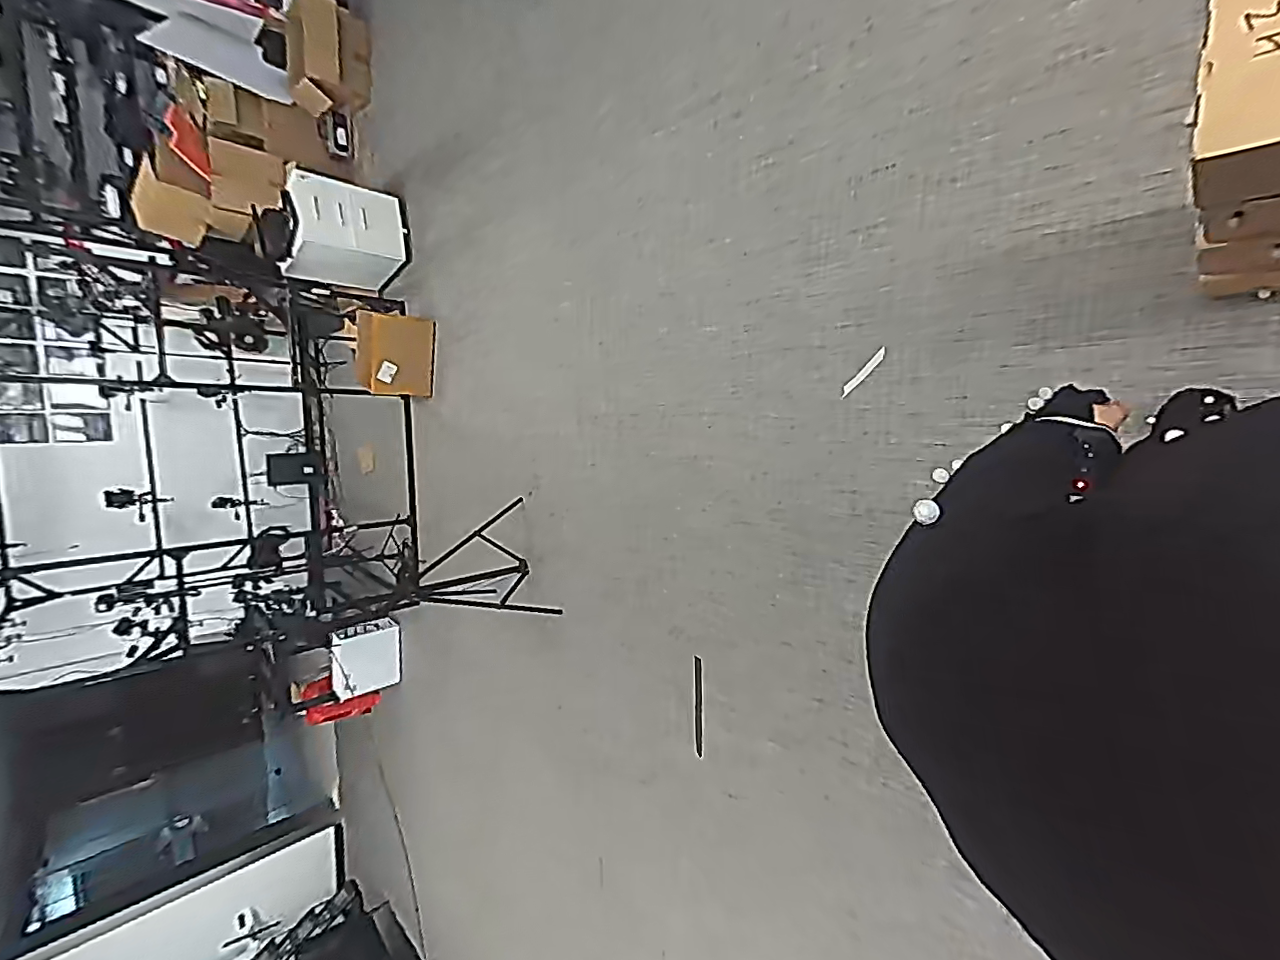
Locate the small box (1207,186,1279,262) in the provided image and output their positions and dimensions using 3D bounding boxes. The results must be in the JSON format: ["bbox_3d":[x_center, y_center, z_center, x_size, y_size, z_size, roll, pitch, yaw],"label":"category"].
[{"bbox_3d":[0.893,-0.402,0.718,0.179,0.176,0.168,8,101,48],"label":"small box"}]

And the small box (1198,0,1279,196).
[{"bbox_3d":[0.650,-0.387,0.495,0.179,0.176,0.168,9,100,48],"label":"small box"}]

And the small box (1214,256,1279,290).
[{"bbox_3d":[1.011,-0.405,0.829,0.168,0.176,0.179,8,101,47],"label":"small box"}]
